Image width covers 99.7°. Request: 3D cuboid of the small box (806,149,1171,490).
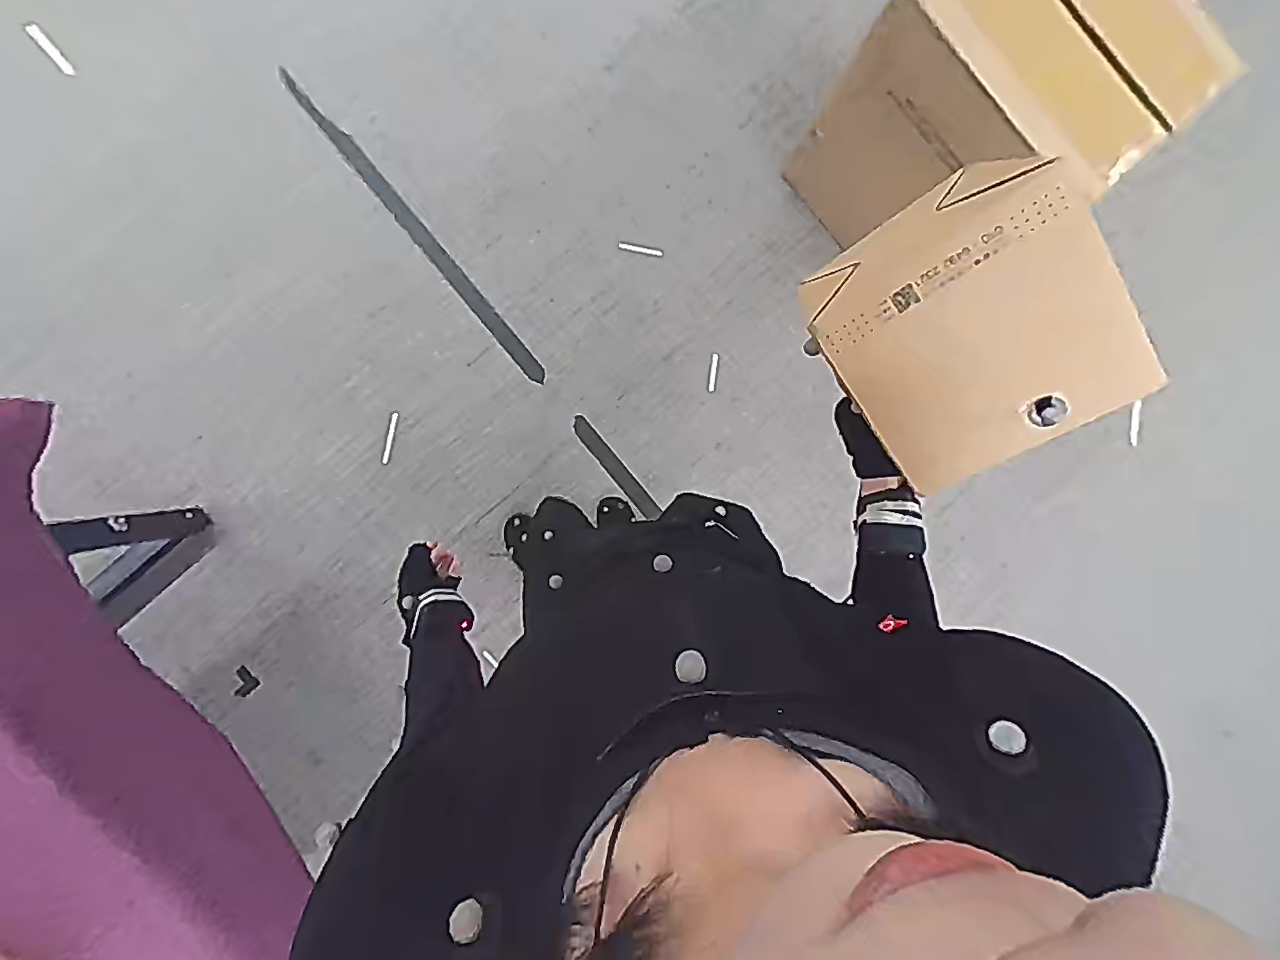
[{"bbox_3d":[0.249,-0.130,0.430,0.168,0.179,0.176,-32,107,27],"label":"small box"}]
